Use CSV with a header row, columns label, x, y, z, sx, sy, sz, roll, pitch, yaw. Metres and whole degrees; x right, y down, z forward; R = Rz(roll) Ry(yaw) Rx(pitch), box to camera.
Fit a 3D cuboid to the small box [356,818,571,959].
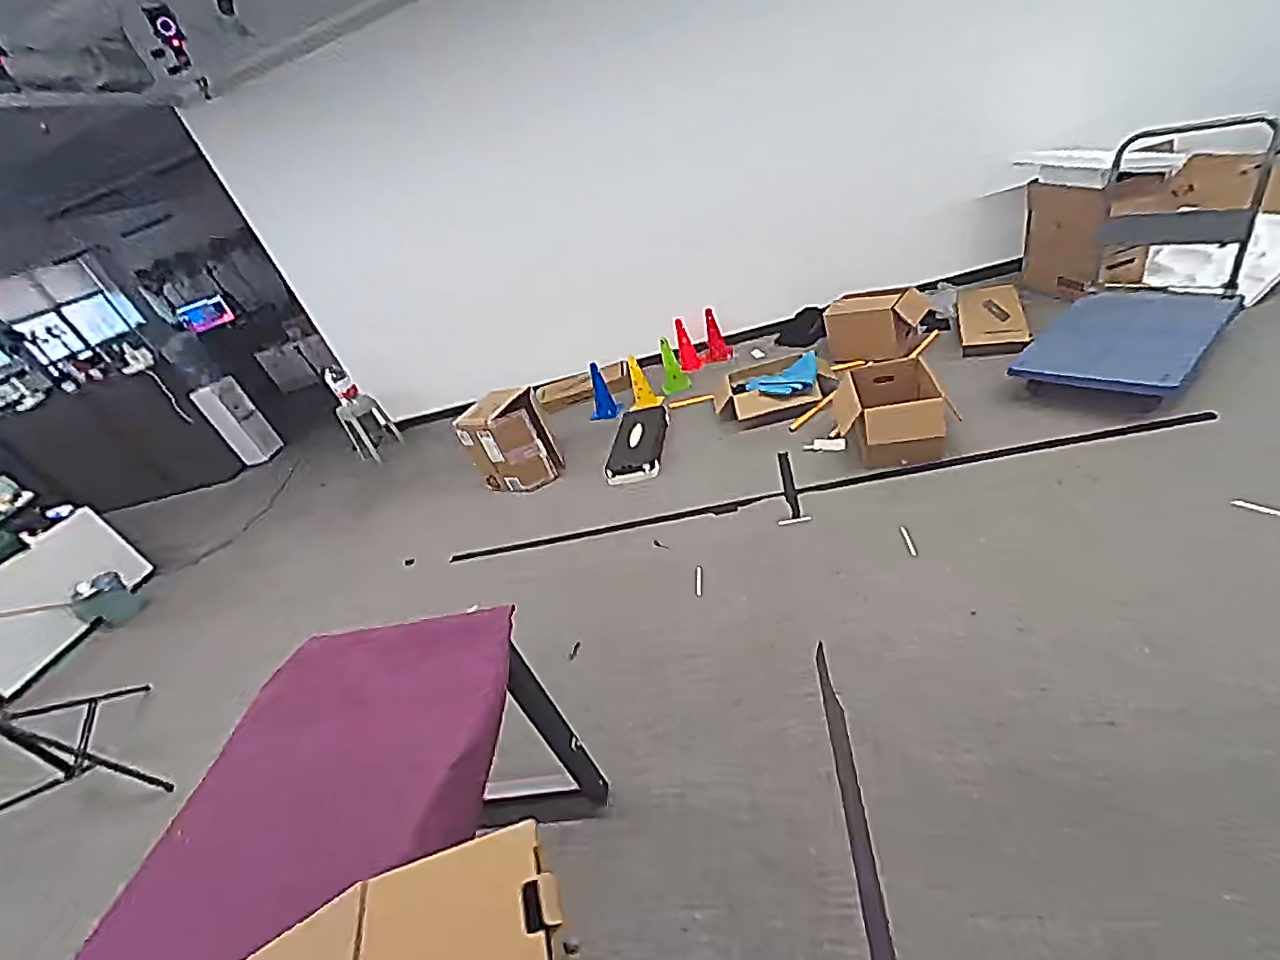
label,x,y,z,sx,sy,sz,roll,pitch,yaw
small box,-0.168,0.490,0.546,0.179,0.176,0.168,-12,34,-10
